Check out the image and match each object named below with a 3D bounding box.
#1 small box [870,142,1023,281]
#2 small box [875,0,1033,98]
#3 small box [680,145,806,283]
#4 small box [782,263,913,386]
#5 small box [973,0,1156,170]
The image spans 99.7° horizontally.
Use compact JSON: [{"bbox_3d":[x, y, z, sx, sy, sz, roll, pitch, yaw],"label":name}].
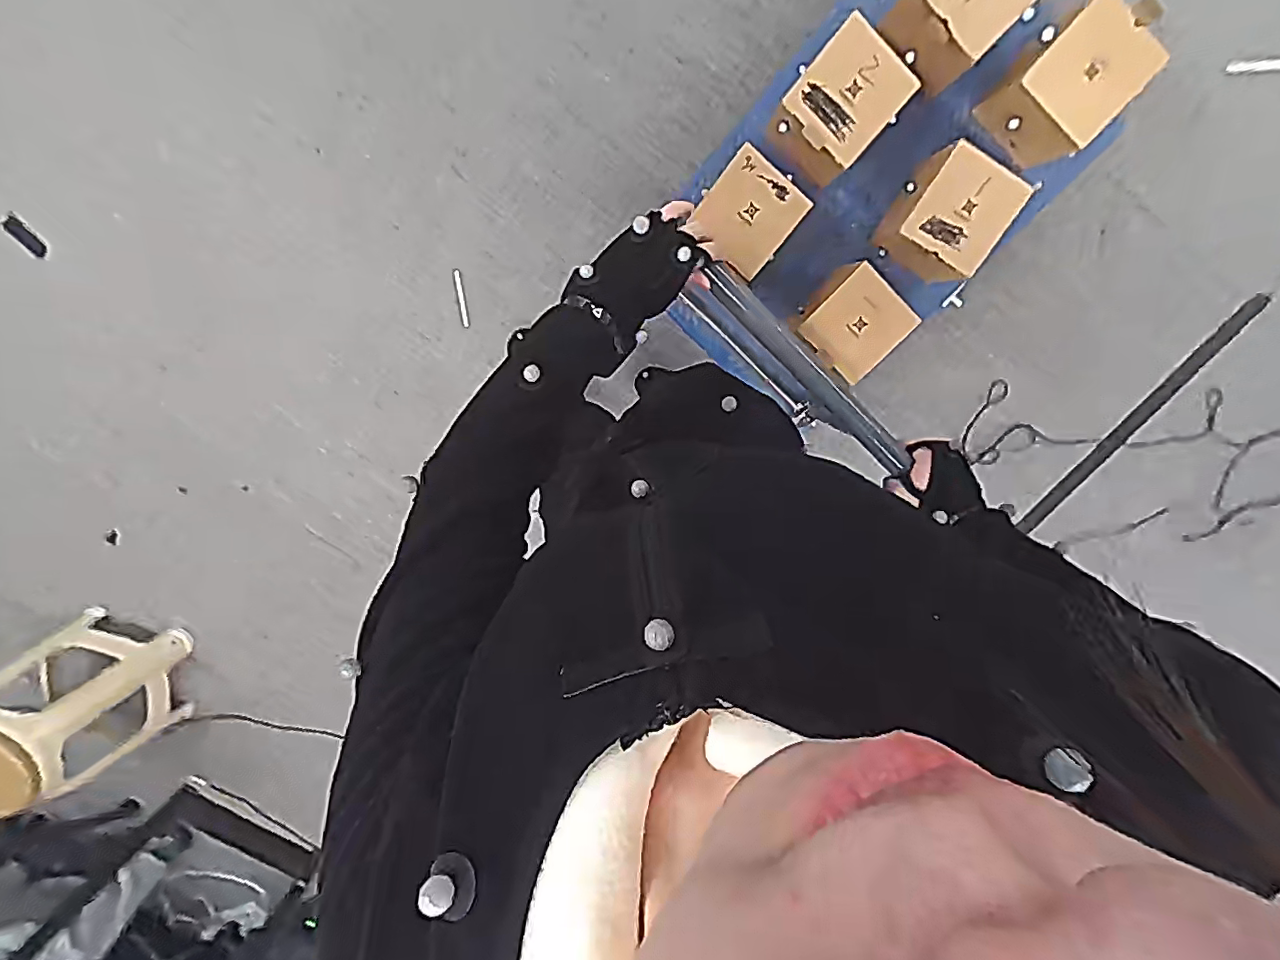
[{"bbox_3d":[0.582,-0.510,1.060,0.168,0.176,0.179,30,106,-7],"label":"small box"},{"bbox_3d":[0.557,-0.835,0.956,0.168,0.176,0.179,43,105,-10],"label":"small box"},{"bbox_3d":[0.195,-0.512,1.075,0.168,0.176,0.179,38,106,-10],"label":"small box"},{"bbox_3d":[0.418,-0.322,1.128,0.168,0.176,0.179,42,104,-11],"label":"small box"},{"bbox_3d":[0.753,-0.710,0.990,0.168,0.176,0.179,39,105,-9],"label":"small box"}]
